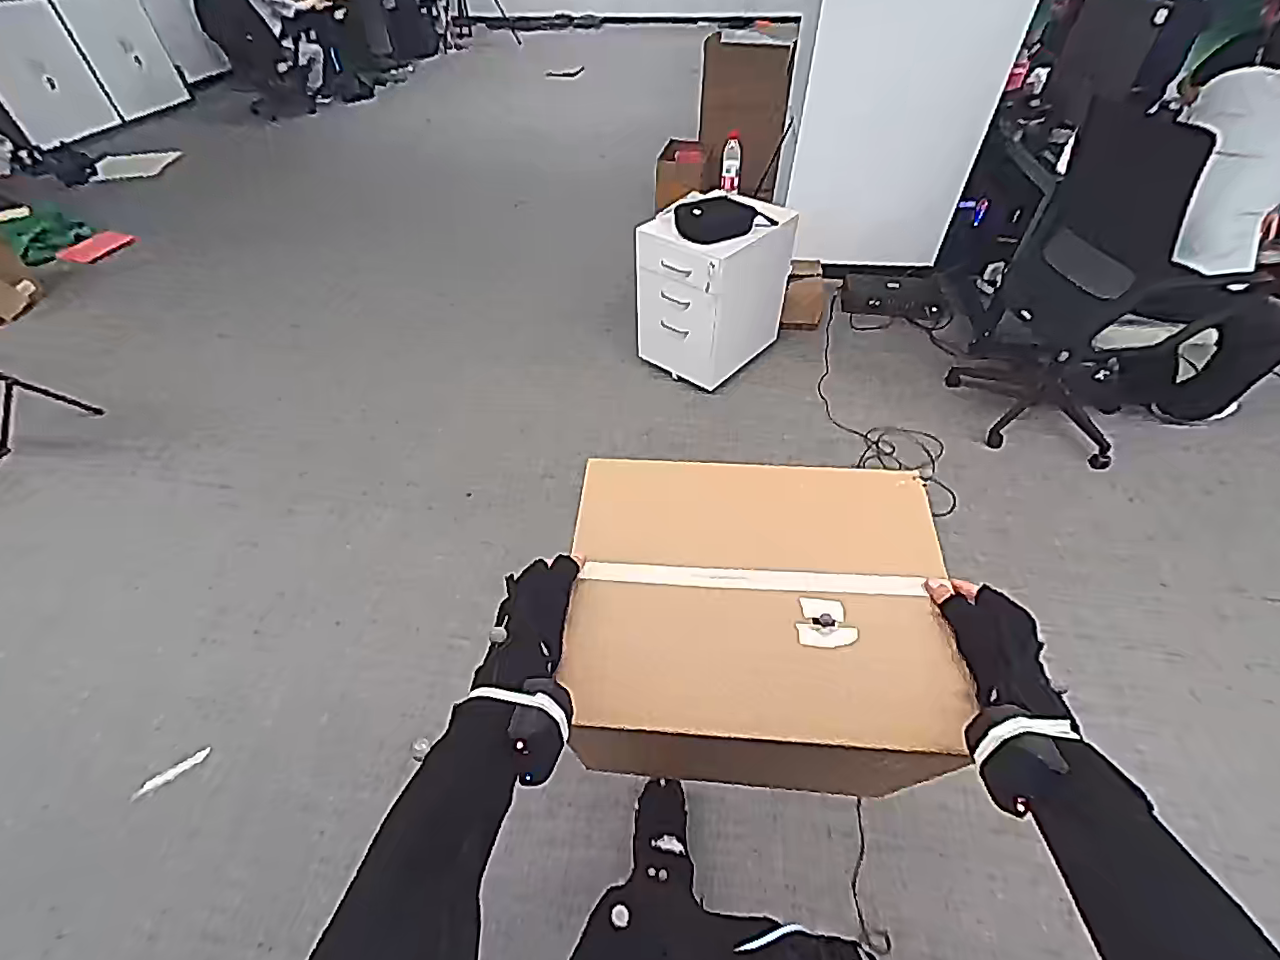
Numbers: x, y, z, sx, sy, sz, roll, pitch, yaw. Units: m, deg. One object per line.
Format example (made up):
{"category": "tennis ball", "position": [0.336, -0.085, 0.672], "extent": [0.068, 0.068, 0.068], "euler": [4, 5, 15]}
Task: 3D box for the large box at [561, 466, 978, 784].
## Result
{"category": "large box", "position": [0.132, 0.199, 0.719], "extent": [0.408, 0.320, 0.320], "euler": [2, 55, 4]}
